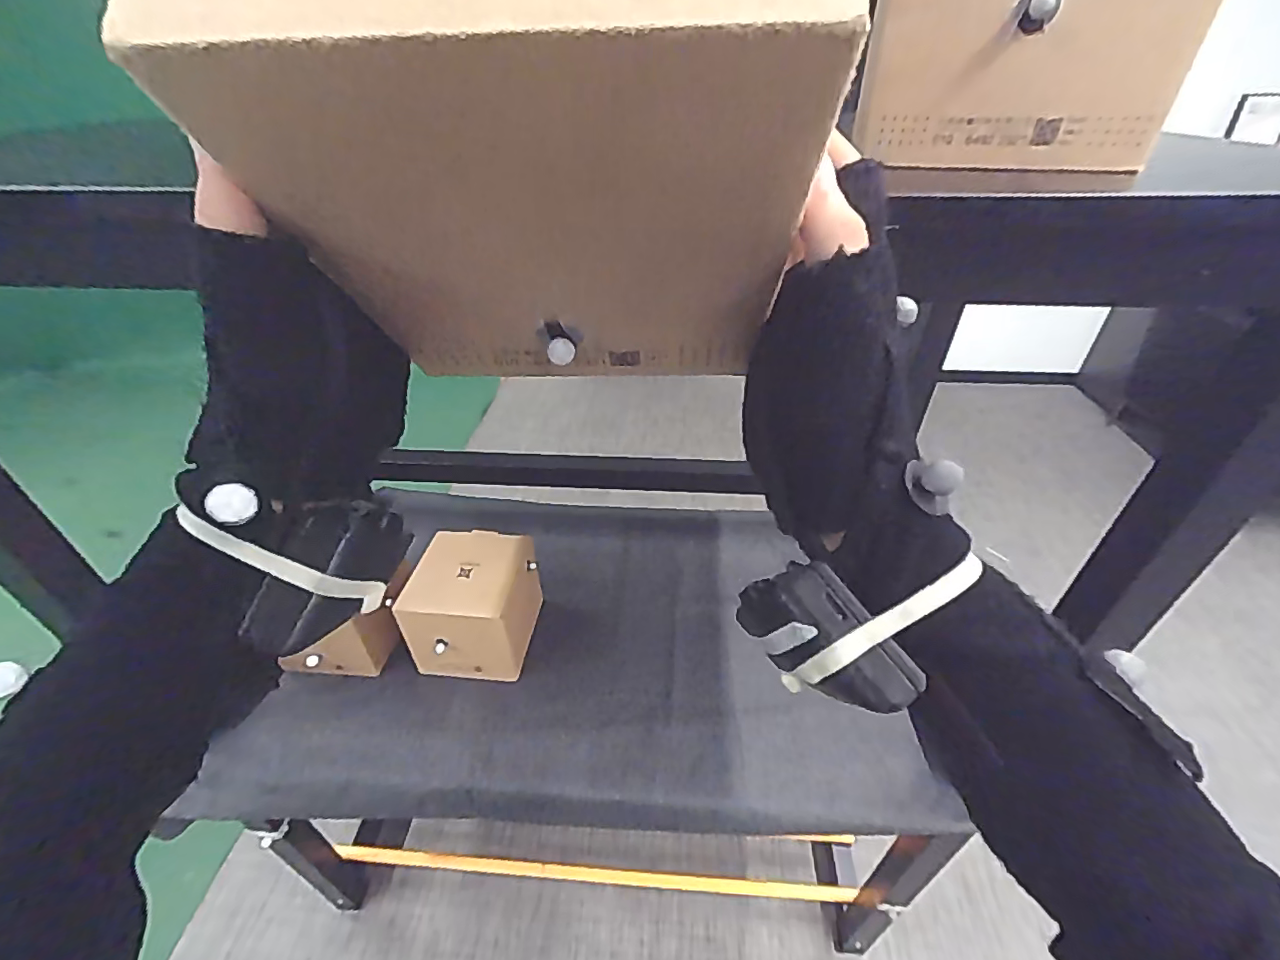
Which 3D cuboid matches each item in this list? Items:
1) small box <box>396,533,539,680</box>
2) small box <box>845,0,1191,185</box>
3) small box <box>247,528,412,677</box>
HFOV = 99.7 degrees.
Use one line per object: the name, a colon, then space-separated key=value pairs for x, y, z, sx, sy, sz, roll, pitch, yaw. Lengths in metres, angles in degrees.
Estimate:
small box: x=-0.273 y=0.211 z=0.906 sx=0.168 sy=0.176 sz=0.179 roll=3 pitch=36 yaw=4
small box: x=0.247 y=-0.312 z=0.377 sx=0.168 sy=0.176 sz=0.179 roll=9 pitch=37 yaw=12
small box: x=-0.500 y=0.204 z=0.912 sx=0.168 sy=0.176 sz=0.179 roll=2 pitch=37 yaw=3
